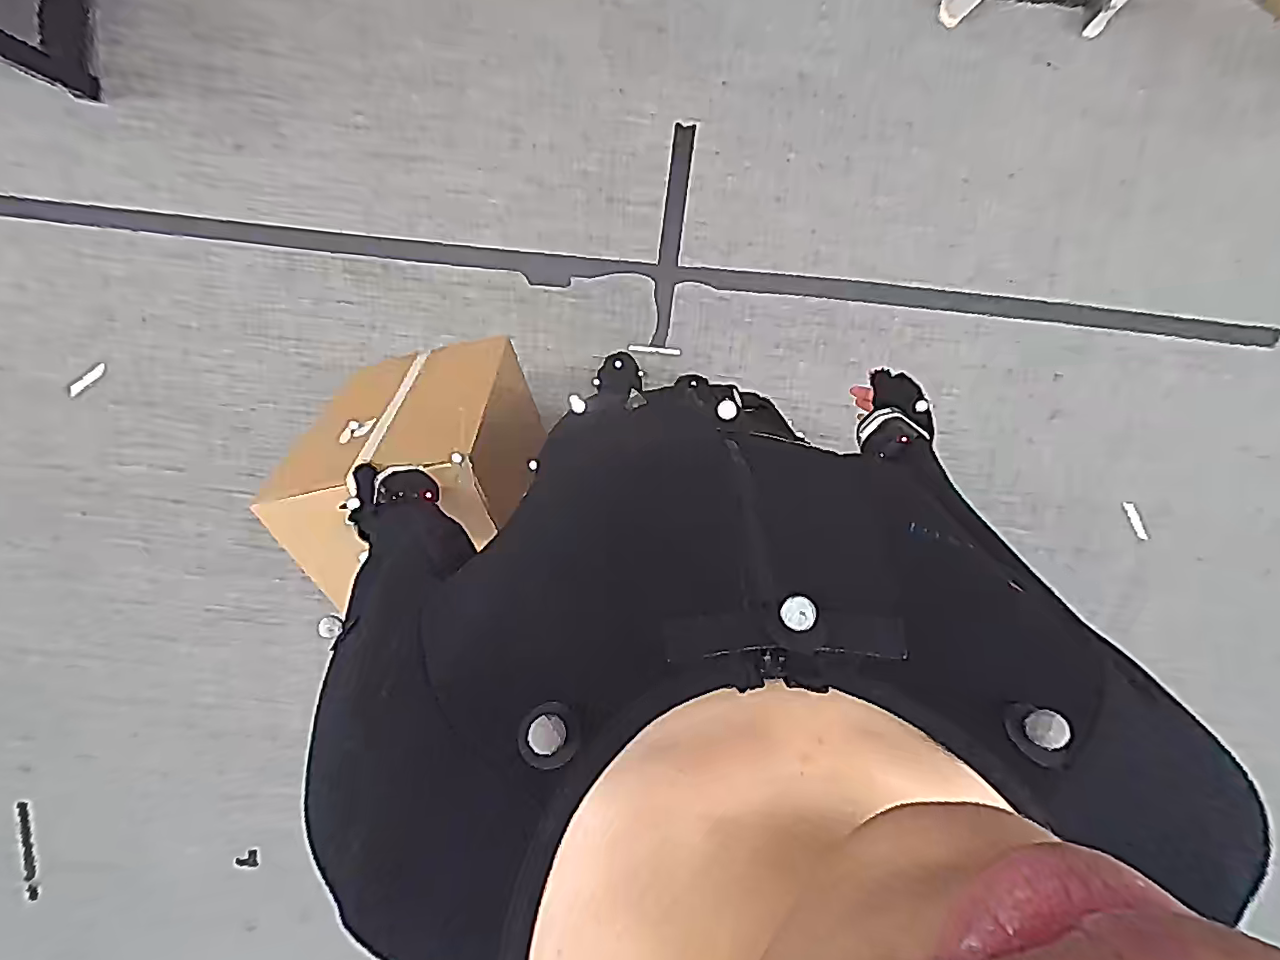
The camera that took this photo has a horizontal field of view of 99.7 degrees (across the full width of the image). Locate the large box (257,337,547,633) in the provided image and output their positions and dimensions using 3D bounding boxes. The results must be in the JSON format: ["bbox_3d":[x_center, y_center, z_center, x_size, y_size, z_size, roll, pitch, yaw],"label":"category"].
[{"bbox_3d":[-0.362,-0.003,0.967,0.320,0.408,0.320,-13,129,4],"label":"large box"}]
